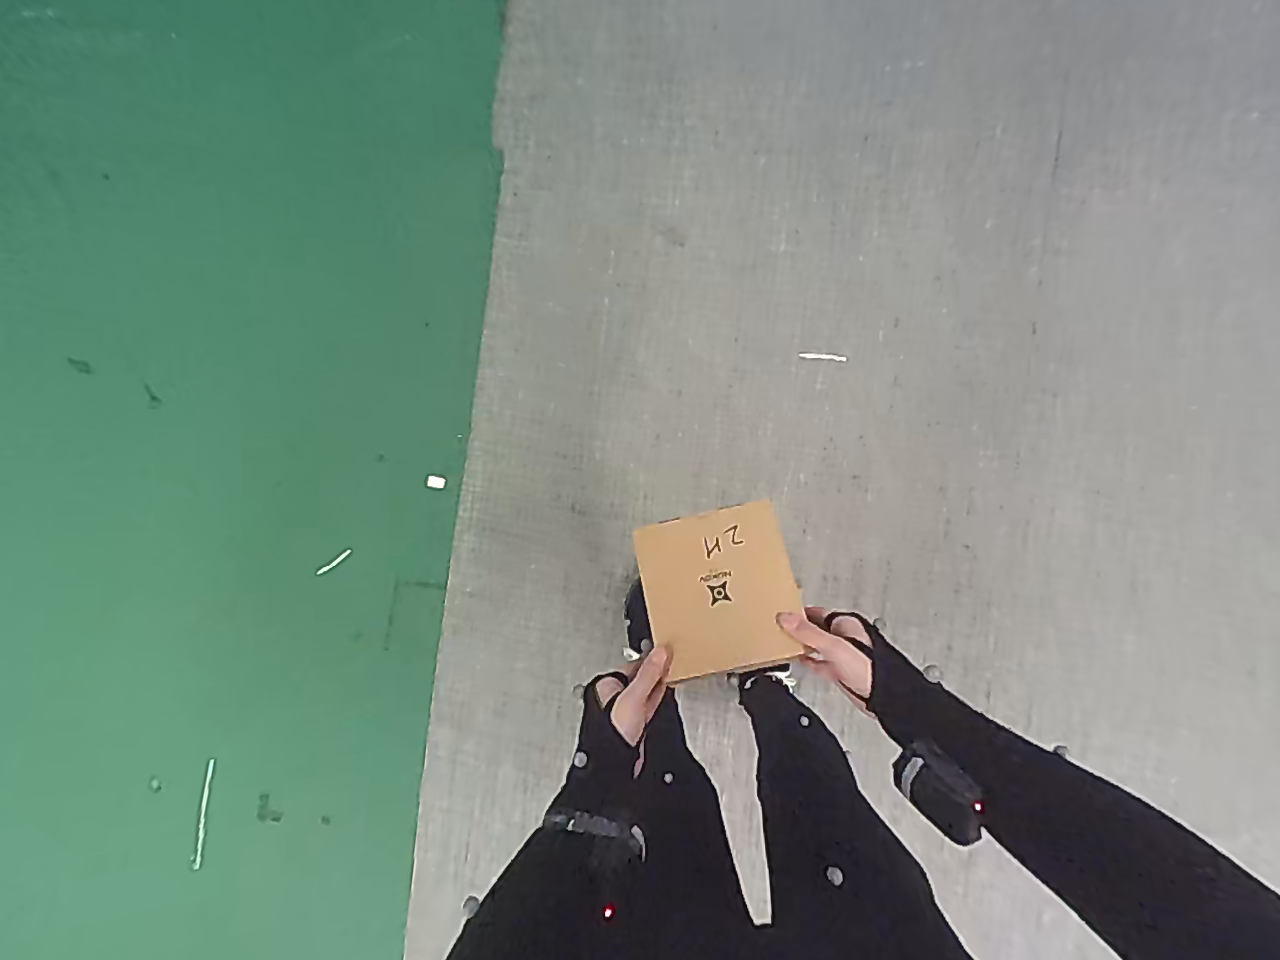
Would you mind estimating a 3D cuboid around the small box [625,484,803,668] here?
[{"bbox_3d":[0.083,0.125,0.652,0.168,0.176,0.179,-10,69,2],"label":"small box"}]
